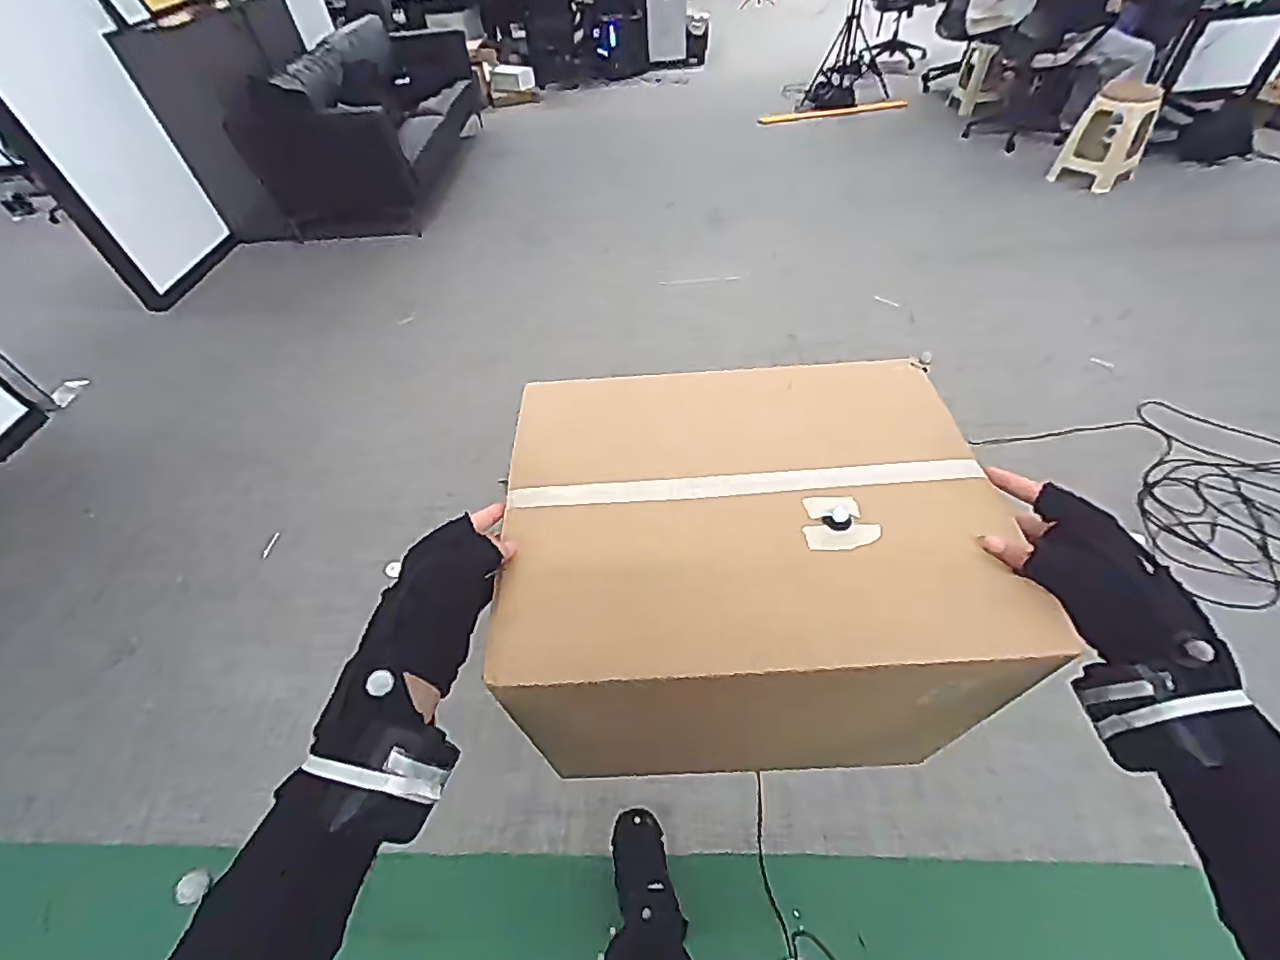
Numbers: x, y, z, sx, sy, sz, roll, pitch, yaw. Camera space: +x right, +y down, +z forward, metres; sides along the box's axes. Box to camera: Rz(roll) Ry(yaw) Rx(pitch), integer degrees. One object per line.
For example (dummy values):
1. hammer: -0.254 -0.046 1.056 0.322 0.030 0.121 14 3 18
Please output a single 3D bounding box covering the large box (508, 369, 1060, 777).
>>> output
1. large box: 0.099 0.108 0.589 0.408 0.320 0.320 -4 51 0
